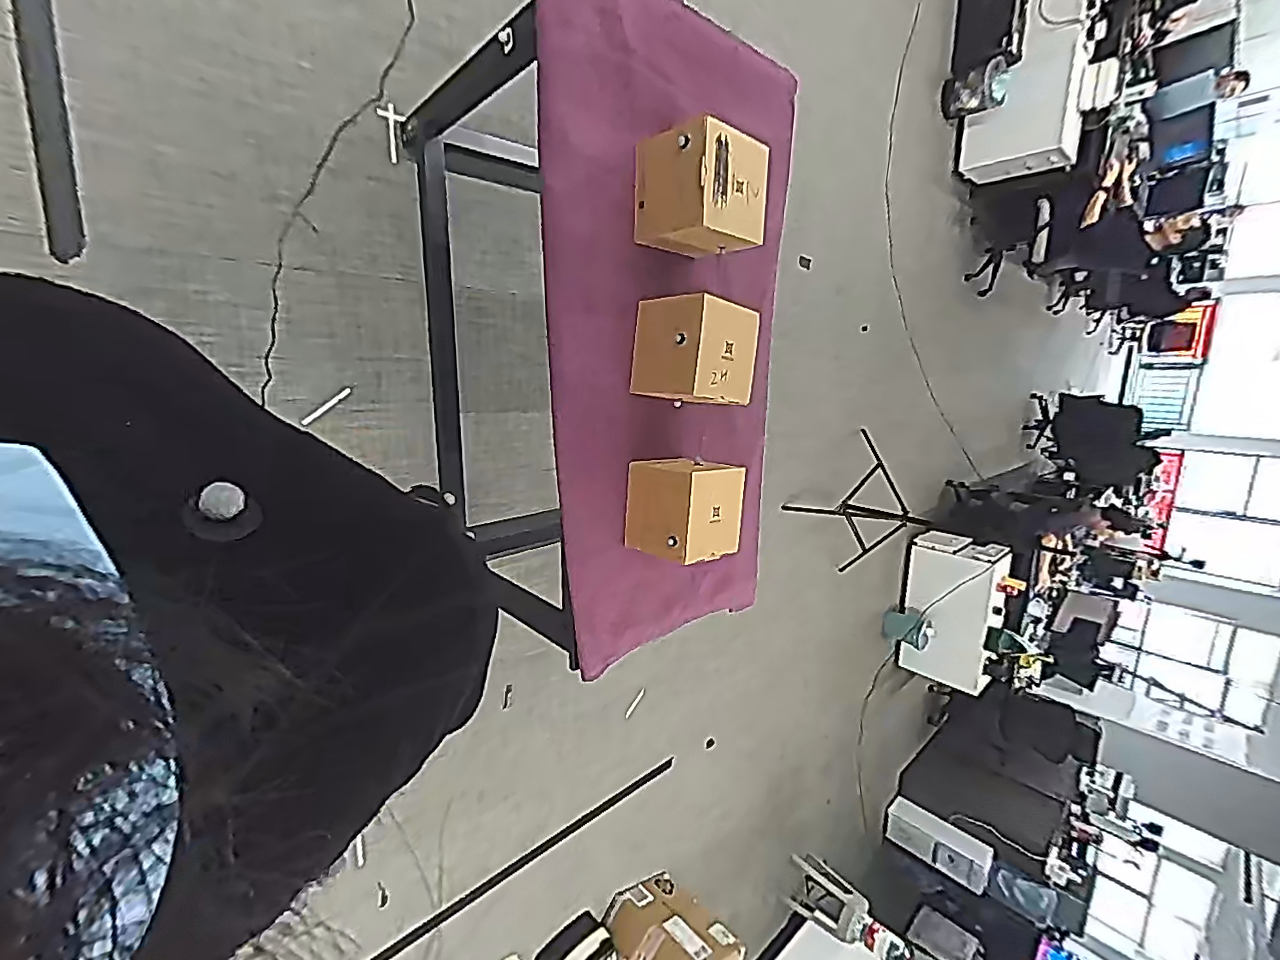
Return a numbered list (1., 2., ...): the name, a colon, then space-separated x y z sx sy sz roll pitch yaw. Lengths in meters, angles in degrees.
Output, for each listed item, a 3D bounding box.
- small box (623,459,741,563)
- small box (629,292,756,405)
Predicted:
1. small box: 0.081 0.052 1.082 0.168 0.176 0.179 -5 103 -45
2. small box: 0.097 -0.243 1.032 0.168 0.176 0.179 1 99 -44
